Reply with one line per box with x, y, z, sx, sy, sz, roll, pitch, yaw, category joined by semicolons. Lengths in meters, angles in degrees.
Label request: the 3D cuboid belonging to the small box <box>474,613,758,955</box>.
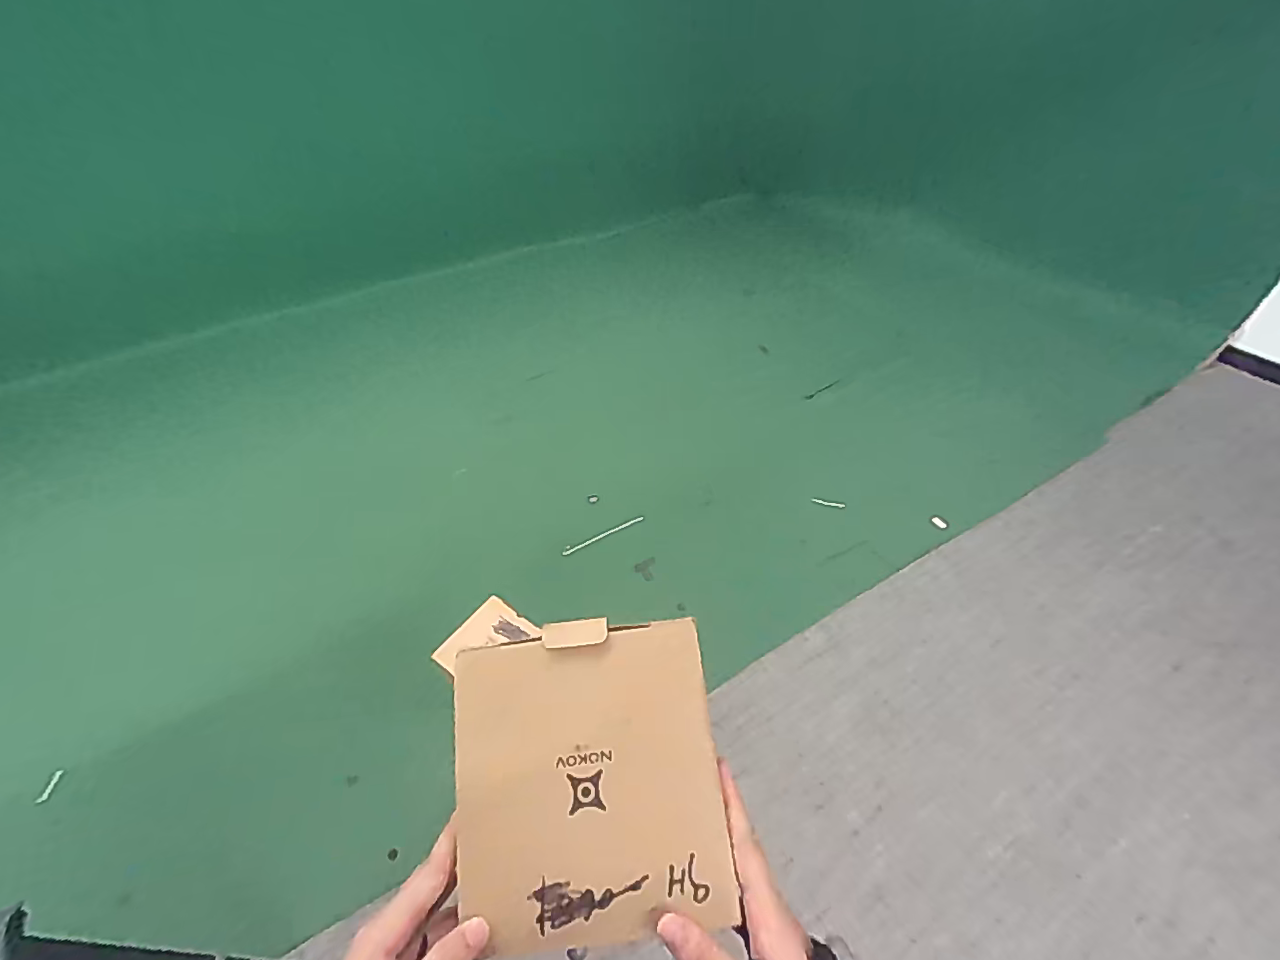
-0.020;0.206;0.411;0.168;0.176;0.179;-7;71;0;small box

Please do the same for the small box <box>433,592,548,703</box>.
-0.300;0.380;1.151;0.168;0.176;0.179;28;54;25;small box
